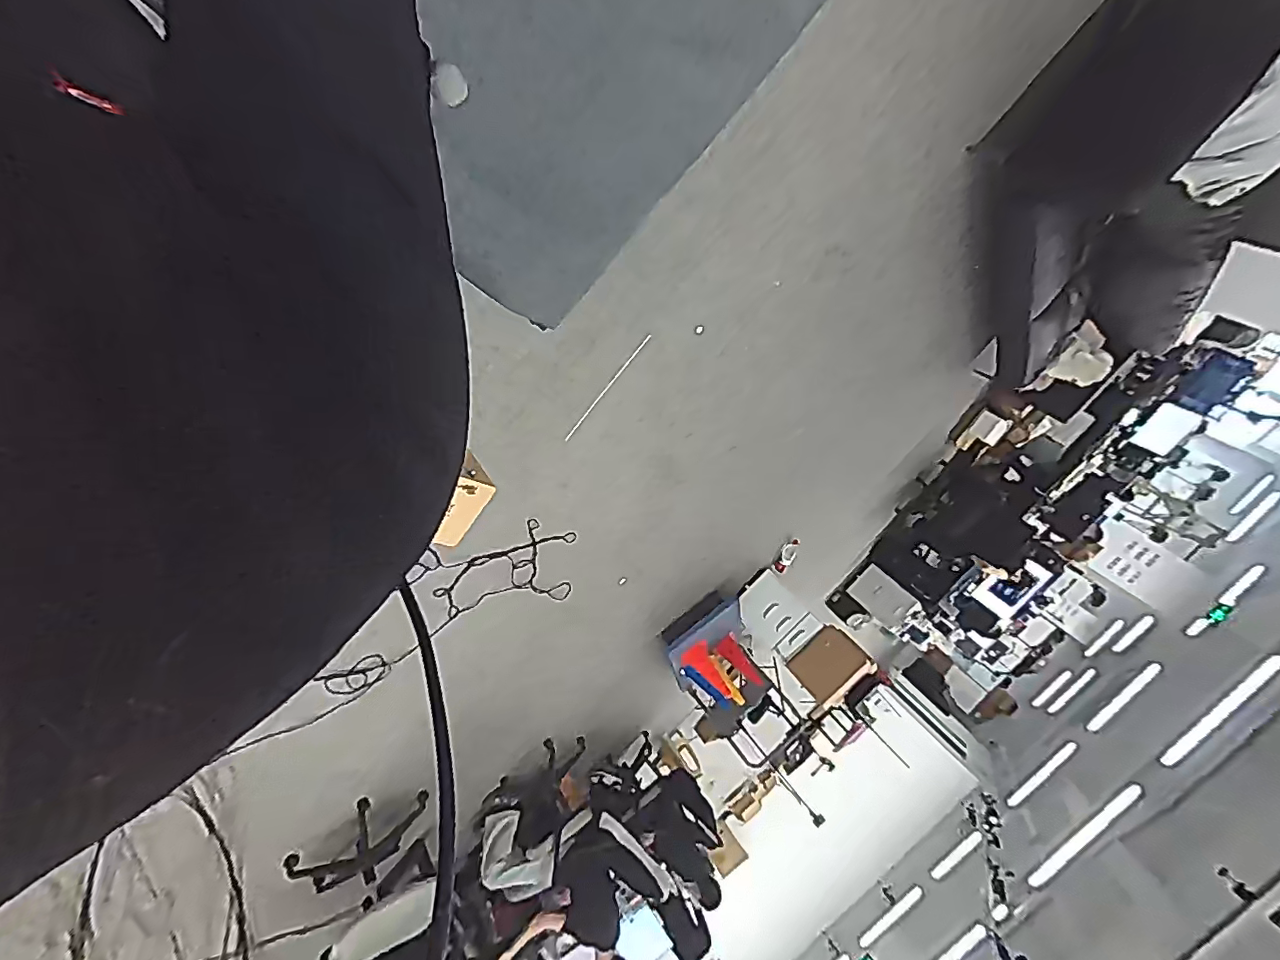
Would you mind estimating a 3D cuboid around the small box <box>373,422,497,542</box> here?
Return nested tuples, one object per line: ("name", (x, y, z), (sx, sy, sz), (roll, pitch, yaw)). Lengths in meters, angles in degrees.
("small box", (-0.453, 0.006, 1.179), (0.179, 0.176, 0.168), (-51, 146, 10))
